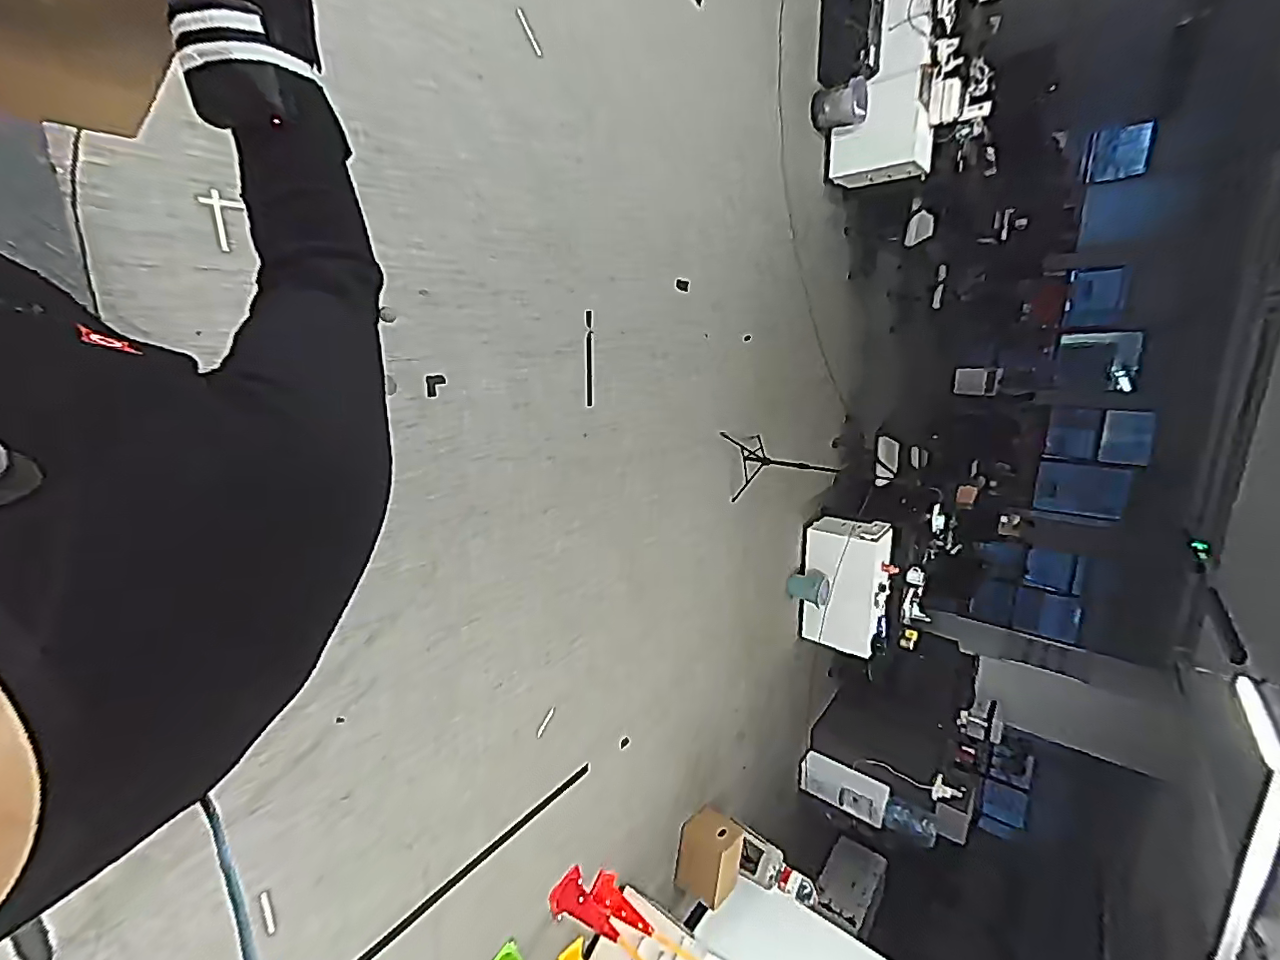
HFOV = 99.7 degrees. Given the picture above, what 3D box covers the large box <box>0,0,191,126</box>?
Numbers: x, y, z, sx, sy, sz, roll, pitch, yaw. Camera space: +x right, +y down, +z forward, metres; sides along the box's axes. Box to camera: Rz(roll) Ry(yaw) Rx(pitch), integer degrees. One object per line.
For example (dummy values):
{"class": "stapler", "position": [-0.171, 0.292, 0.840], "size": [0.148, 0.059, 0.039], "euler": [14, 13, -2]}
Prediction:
{"class": "large box", "position": [-0.520, -0.434, 0.255], "size": [0.408, 0.320, 0.320], "euler": [-18, 109, -48]}
